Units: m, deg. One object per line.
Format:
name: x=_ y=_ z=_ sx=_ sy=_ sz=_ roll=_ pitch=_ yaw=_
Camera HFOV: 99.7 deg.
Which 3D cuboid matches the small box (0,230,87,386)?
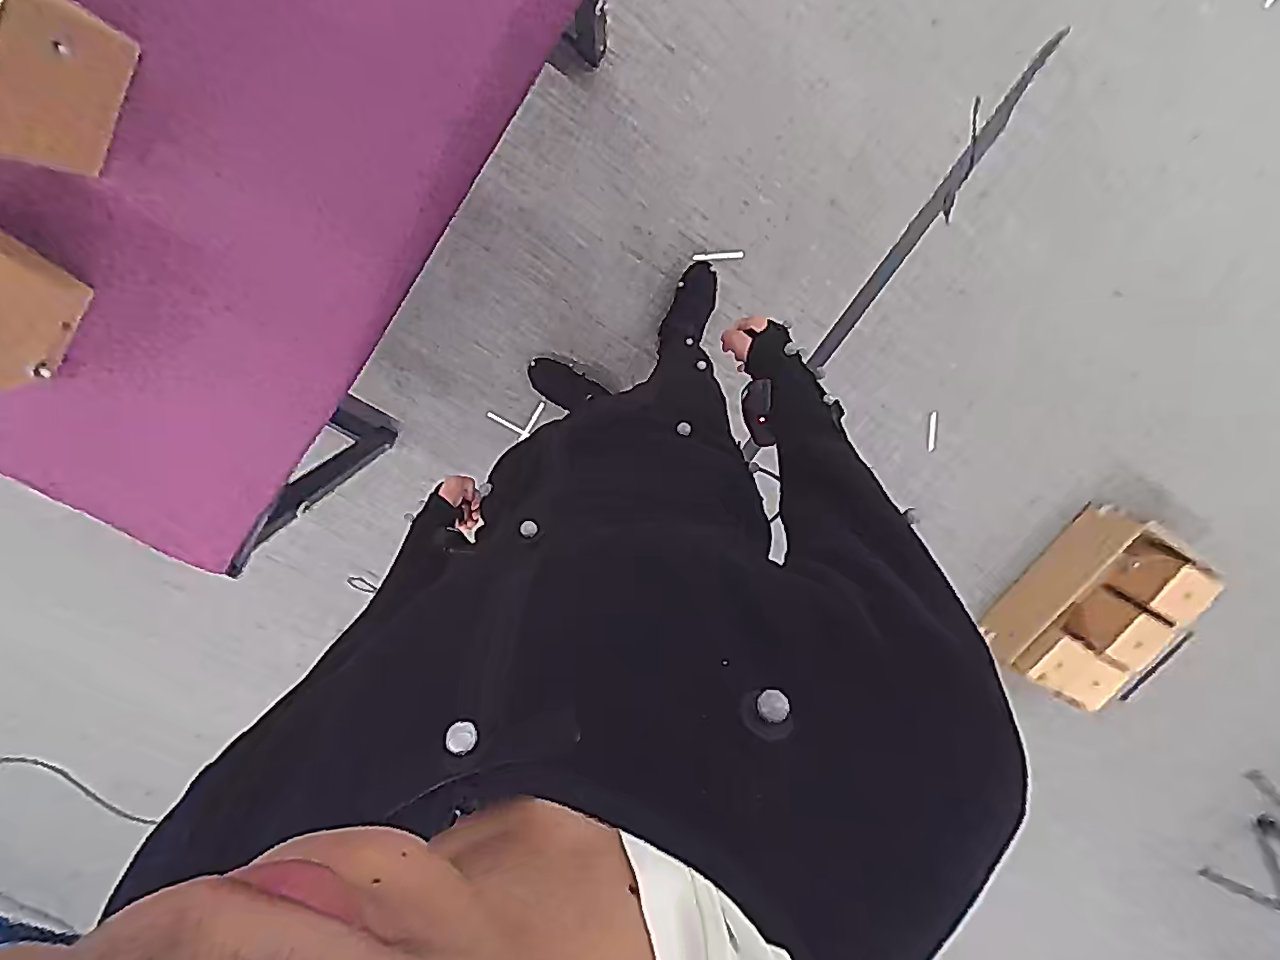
small box: x=-0.867 y=-0.225 z=0.670 sx=0.179 sy=0.176 sz=0.168 roll=37 pitch=103 yaw=-15
